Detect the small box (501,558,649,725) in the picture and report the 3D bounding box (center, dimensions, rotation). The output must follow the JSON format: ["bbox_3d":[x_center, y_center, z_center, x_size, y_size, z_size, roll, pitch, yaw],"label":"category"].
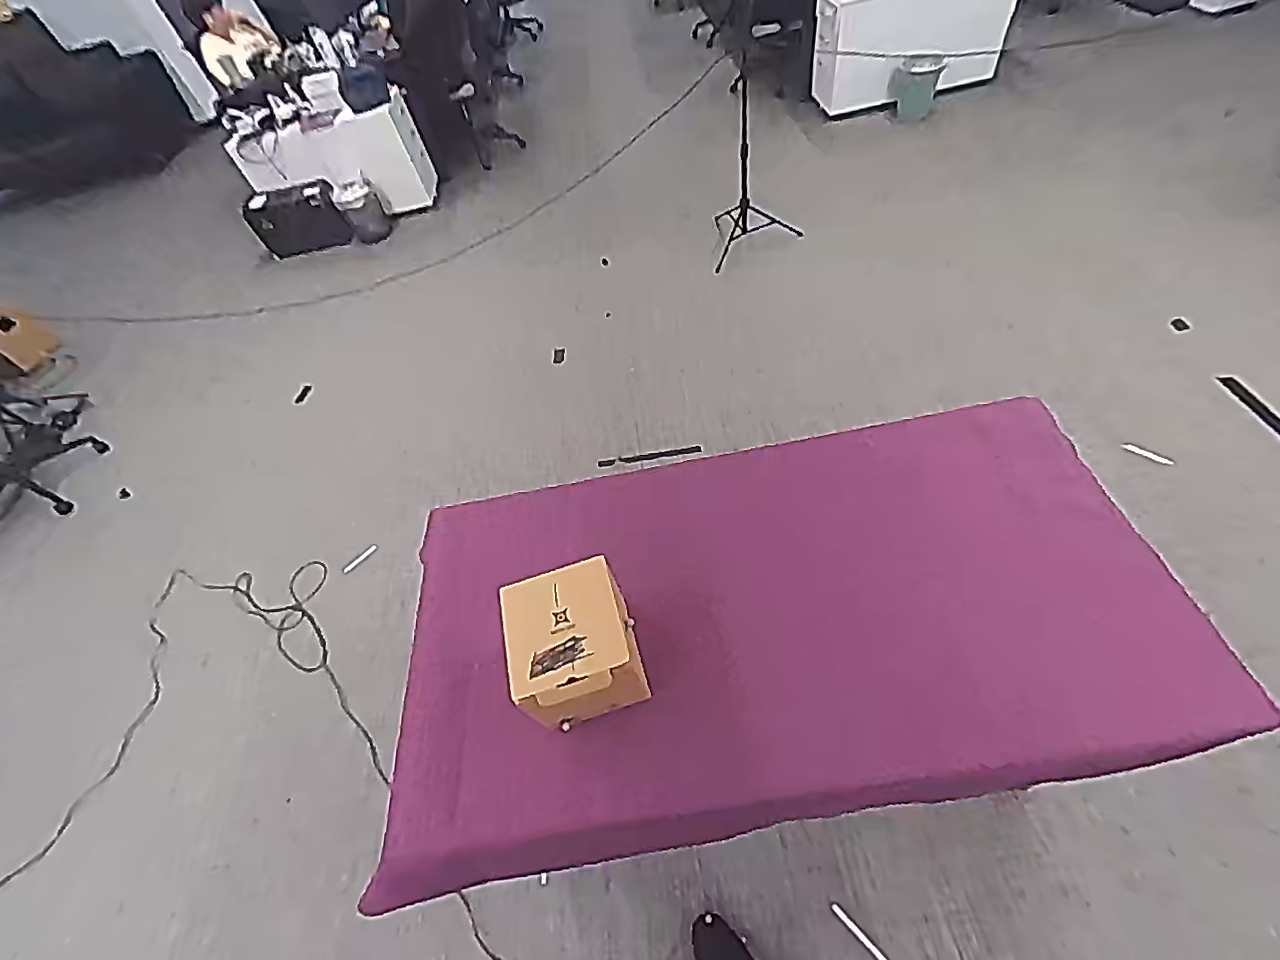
[{"bbox_3d":[-0.093,0.251,0.815,0.168,0.176,0.179,-18,51,-2],"label":"small box"}]
